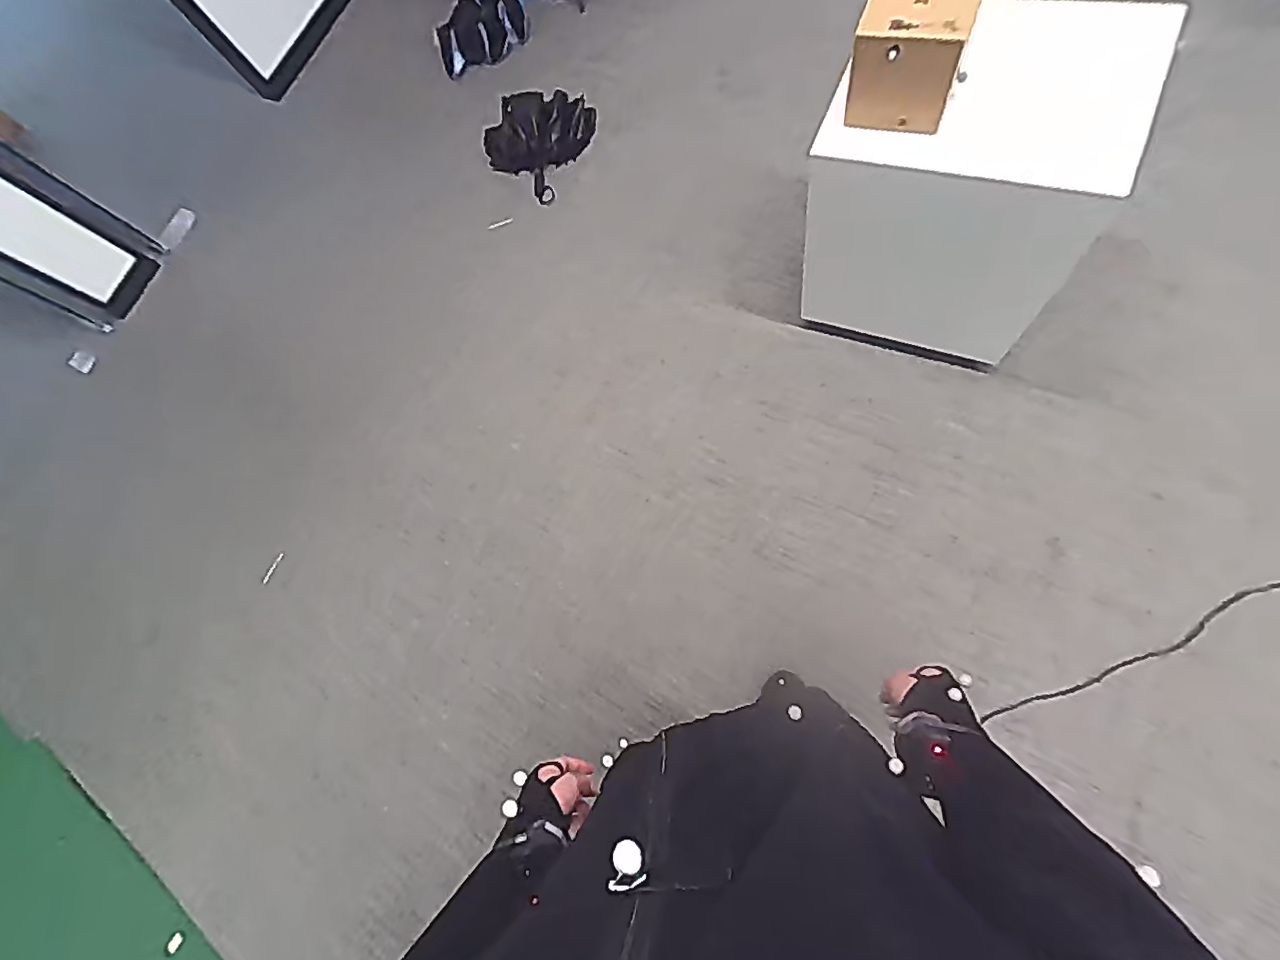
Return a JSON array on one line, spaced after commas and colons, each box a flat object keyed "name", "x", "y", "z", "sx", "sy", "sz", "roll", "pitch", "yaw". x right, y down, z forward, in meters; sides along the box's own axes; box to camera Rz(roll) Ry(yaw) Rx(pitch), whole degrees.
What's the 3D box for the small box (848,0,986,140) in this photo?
[{"name": "small box", "x": 0.467, "y": -0.726, "z": 0.920, "sx": 0.168, "sy": 0.176, "sz": 0.179, "roll": 19, "pitch": 79, "yaw": 19}]
